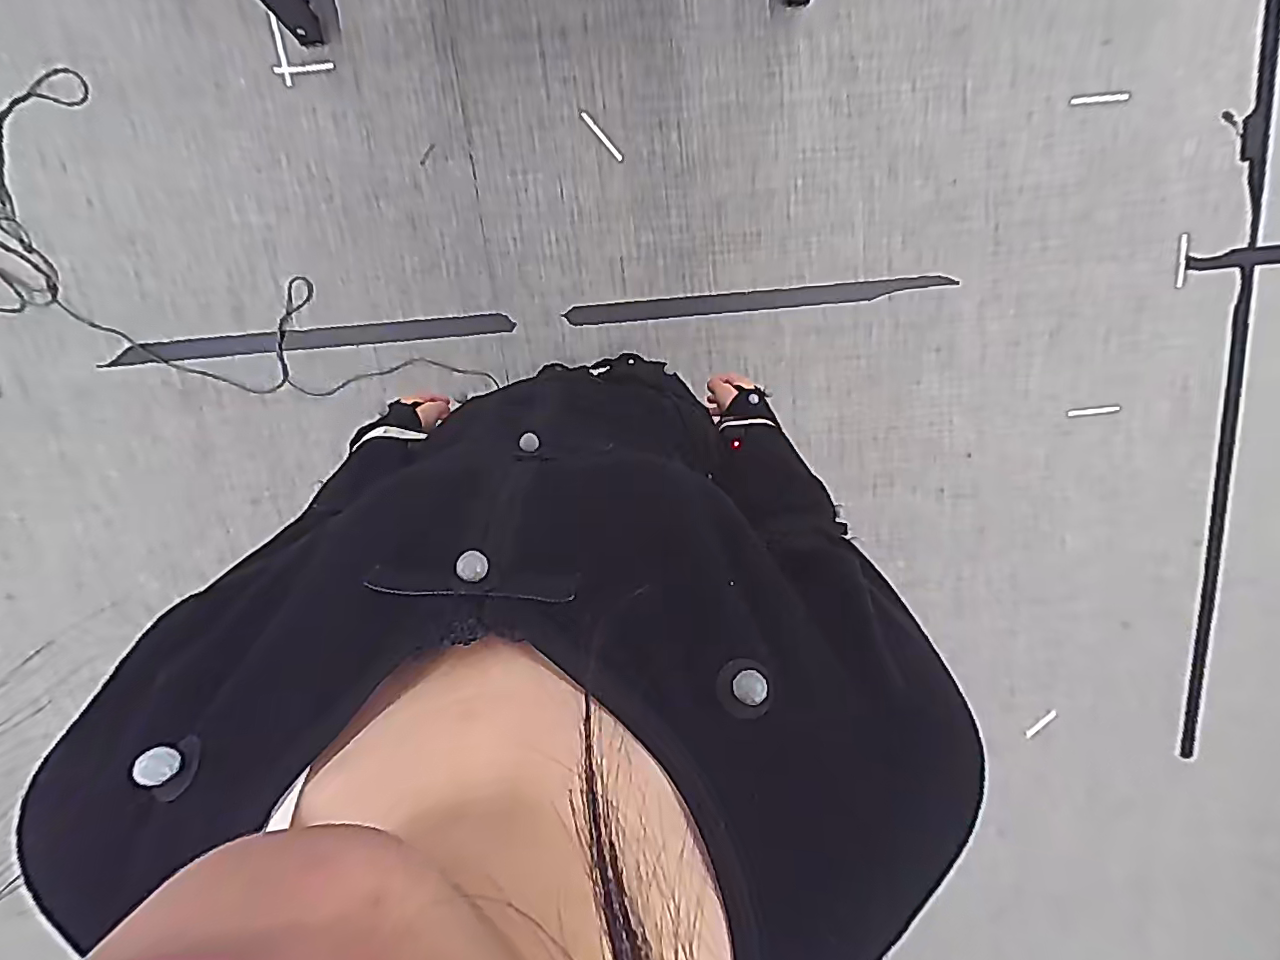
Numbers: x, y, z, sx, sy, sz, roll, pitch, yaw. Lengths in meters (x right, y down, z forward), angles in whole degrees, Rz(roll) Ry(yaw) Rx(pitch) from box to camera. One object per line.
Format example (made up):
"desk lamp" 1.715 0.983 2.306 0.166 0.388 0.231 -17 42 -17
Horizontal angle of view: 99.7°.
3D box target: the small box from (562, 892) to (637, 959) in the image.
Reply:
"small box" -0.099 1.180 1.359 0.179 0.176 0.168 -7 101 -2
